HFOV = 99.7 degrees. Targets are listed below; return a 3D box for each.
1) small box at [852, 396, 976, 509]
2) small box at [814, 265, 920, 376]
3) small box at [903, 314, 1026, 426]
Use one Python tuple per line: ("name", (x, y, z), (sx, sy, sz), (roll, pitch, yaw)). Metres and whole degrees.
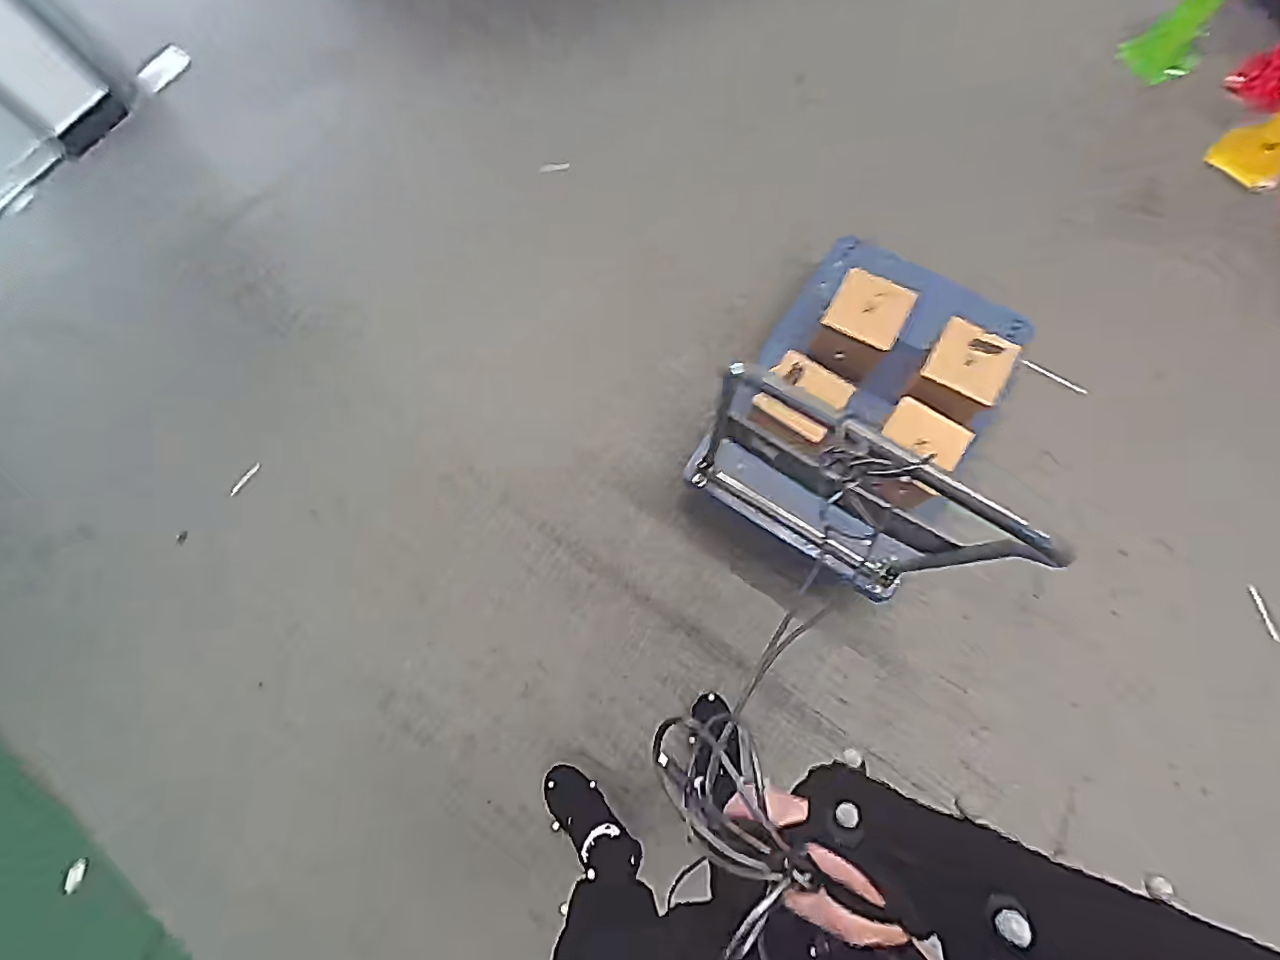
("small box", (0.622, -0.058, 1.253), (0.168, 0.176, 0.179), (34, 80, 12))
("small box", (0.552, -0.389, 1.347), (0.168, 0.176, 0.179), (29, 78, 10))
("small box", (0.765, -0.254, 1.297), (0.168, 0.176, 0.179), (31, 79, 11))
